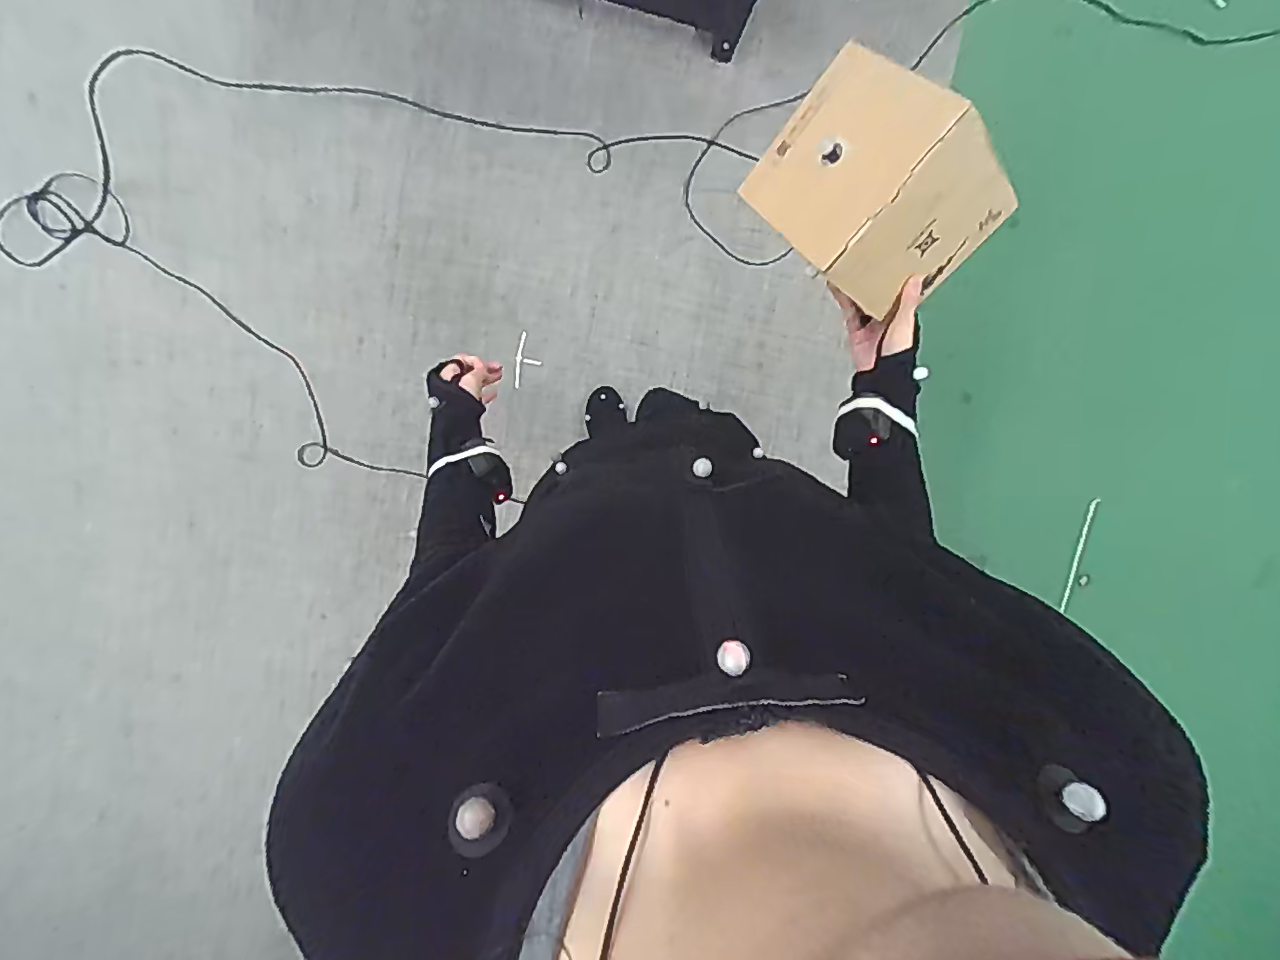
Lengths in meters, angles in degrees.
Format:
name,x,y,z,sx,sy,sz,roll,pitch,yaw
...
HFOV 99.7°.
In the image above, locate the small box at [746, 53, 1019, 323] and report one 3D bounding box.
name,x,y,z,sx,sy,sz,roll,pitch,yaw
small box,0.245,-0.303,0.571,0.179,0.176,0.168,10,132,-44
